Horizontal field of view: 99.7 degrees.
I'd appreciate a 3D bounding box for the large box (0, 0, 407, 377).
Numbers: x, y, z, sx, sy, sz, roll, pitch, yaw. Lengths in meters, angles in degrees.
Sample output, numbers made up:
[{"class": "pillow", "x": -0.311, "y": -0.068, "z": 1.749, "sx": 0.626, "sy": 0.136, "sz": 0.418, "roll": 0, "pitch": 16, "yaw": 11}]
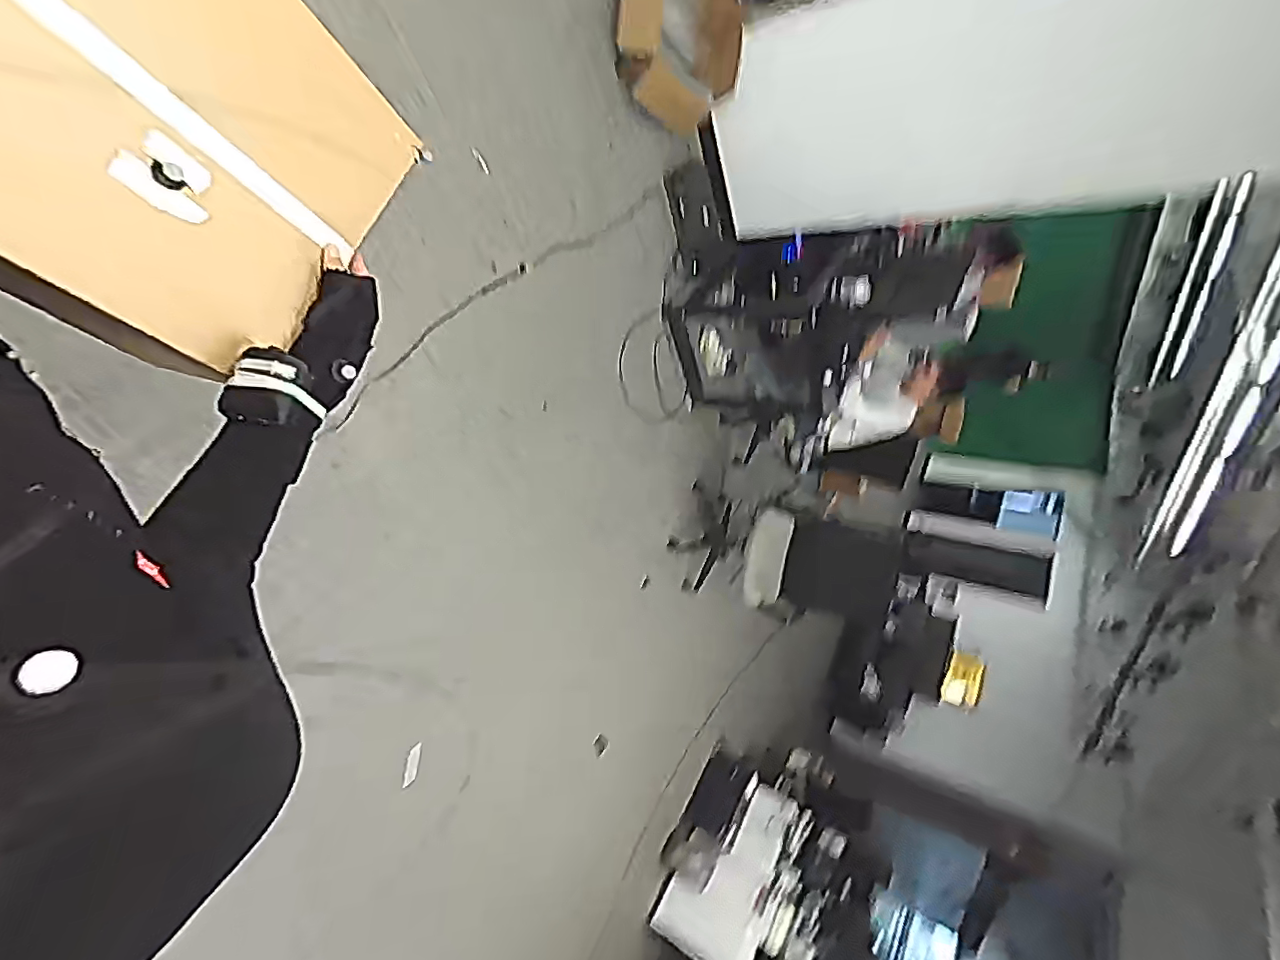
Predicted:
[{"class": "large box", "x": -0.511, "y": -0.334, "z": 0.462, "sx": 0.408, "sy": 0.320, "sz": 0.320, "roll": 42, "pitch": 67, "yaw": -54}]
